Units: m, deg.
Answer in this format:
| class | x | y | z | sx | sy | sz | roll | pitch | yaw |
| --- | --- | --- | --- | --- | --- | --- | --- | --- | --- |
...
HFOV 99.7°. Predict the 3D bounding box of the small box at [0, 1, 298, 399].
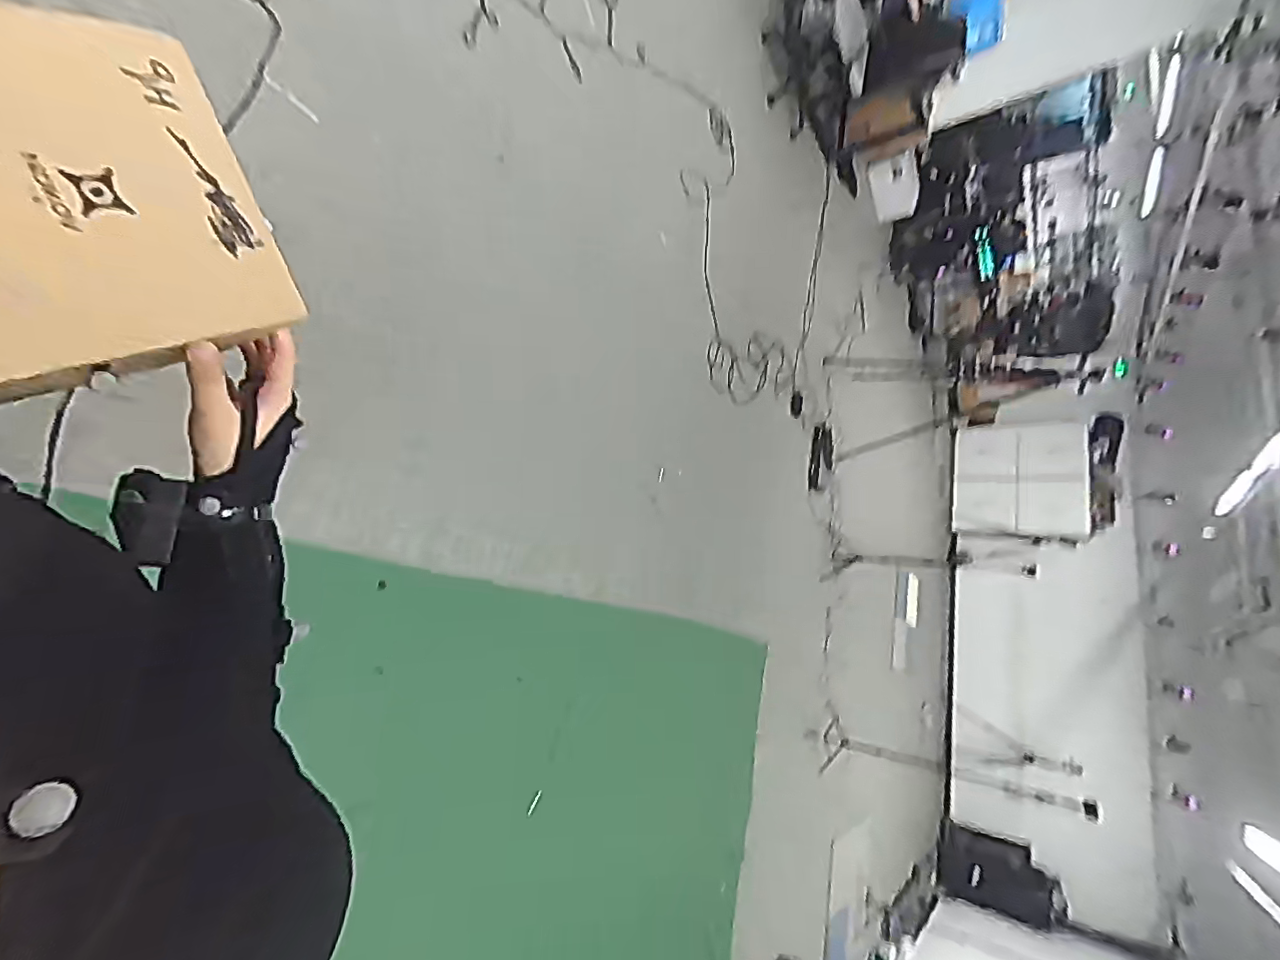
| class | x | y | z | sx | sy | sz | roll | pitch | yaw |
| --- | --- | --- | --- | --- | --- | --- | --- | --- | --- |
| small box | -0.363 | -0.150 | 0.325 | 0.179 | 0.176 | 0.168 | -41 | 122 | -48 |
